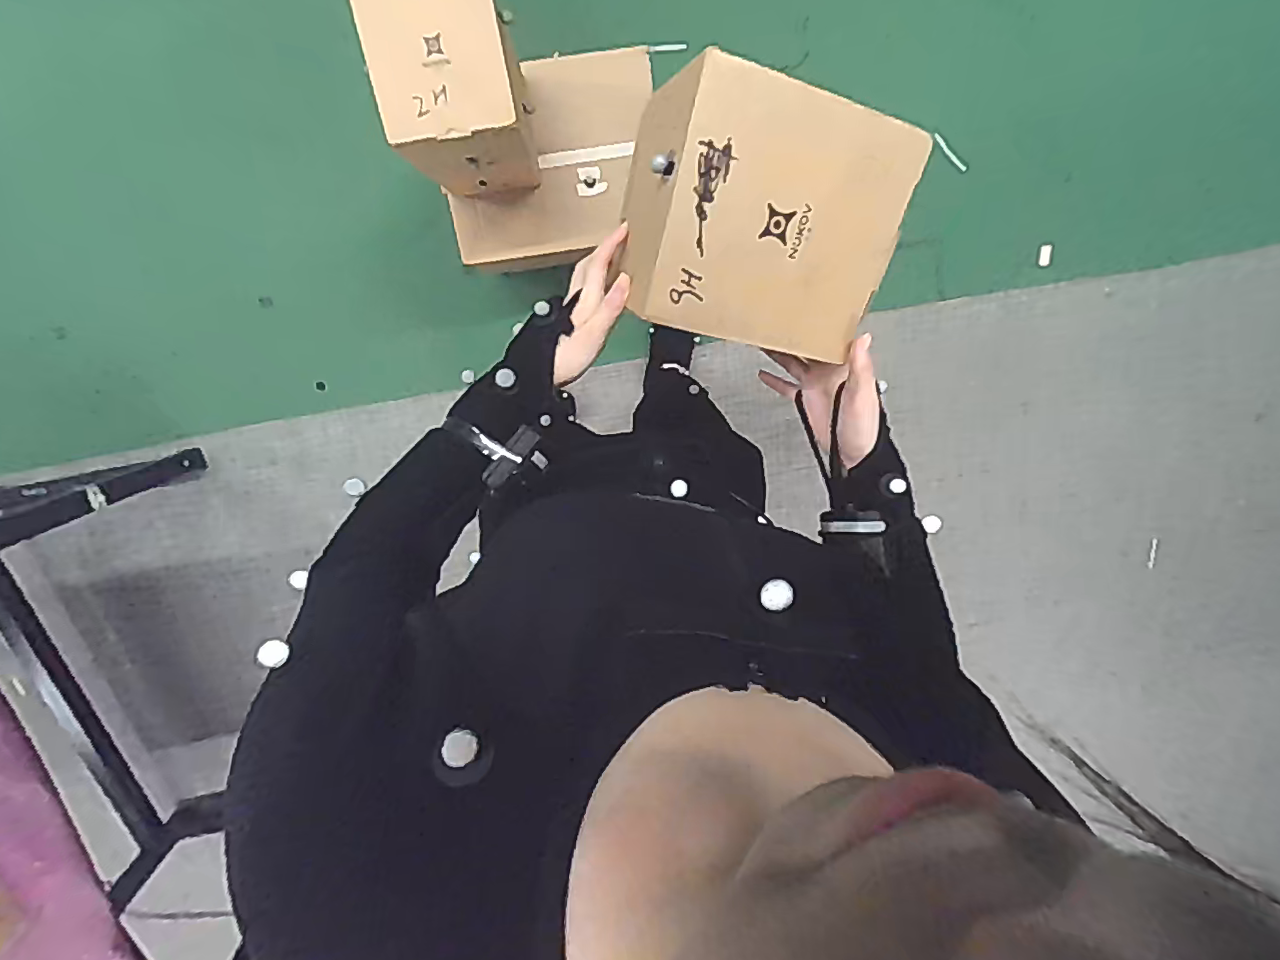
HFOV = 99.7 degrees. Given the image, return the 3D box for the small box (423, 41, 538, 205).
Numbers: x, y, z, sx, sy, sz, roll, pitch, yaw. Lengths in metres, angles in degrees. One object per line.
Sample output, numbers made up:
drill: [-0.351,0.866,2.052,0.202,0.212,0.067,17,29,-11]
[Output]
small box: [-0.268,-0.570,0.884,0.168,0.176,0.179,-9,107,-2]

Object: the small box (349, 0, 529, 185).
small box: [-0.254,-0.521,0.727,0.168,0.176,0.179,-9,107,-1]

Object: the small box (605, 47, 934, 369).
small box: [0.084,-0.203,0.442,0.179,0.176,0.168,8,111,-18]

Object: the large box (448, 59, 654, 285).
large box: [-0.173,-0.608,1.133,0.408,0.320,0.320,-9,108,-2]
